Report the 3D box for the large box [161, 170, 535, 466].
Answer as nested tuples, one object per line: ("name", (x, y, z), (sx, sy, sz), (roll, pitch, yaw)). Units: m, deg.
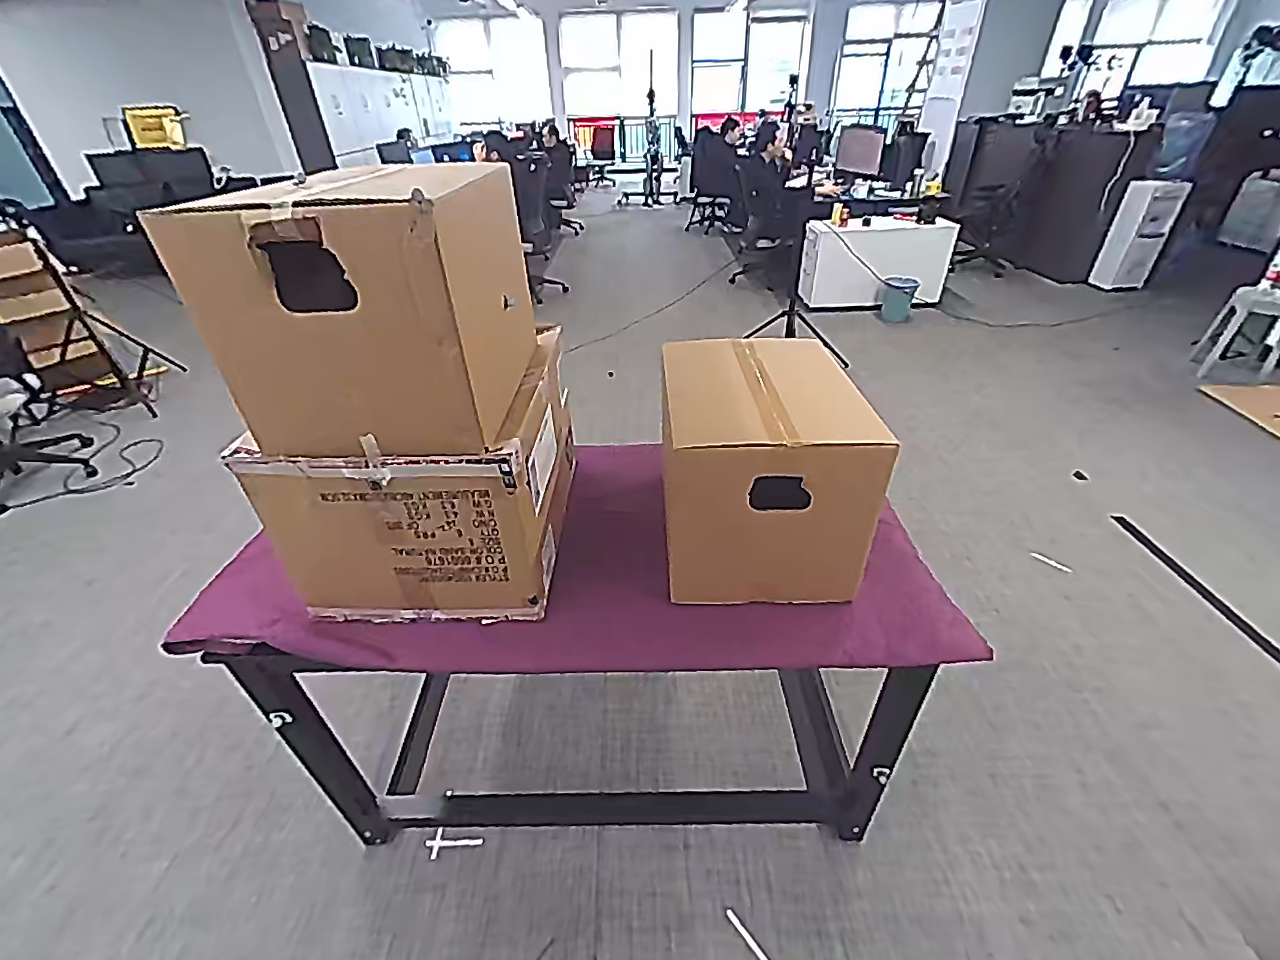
("large box", (-0.352, -0.262, 0.809), (0.320, 0.320, 0.408), (-3, 35, 1))
